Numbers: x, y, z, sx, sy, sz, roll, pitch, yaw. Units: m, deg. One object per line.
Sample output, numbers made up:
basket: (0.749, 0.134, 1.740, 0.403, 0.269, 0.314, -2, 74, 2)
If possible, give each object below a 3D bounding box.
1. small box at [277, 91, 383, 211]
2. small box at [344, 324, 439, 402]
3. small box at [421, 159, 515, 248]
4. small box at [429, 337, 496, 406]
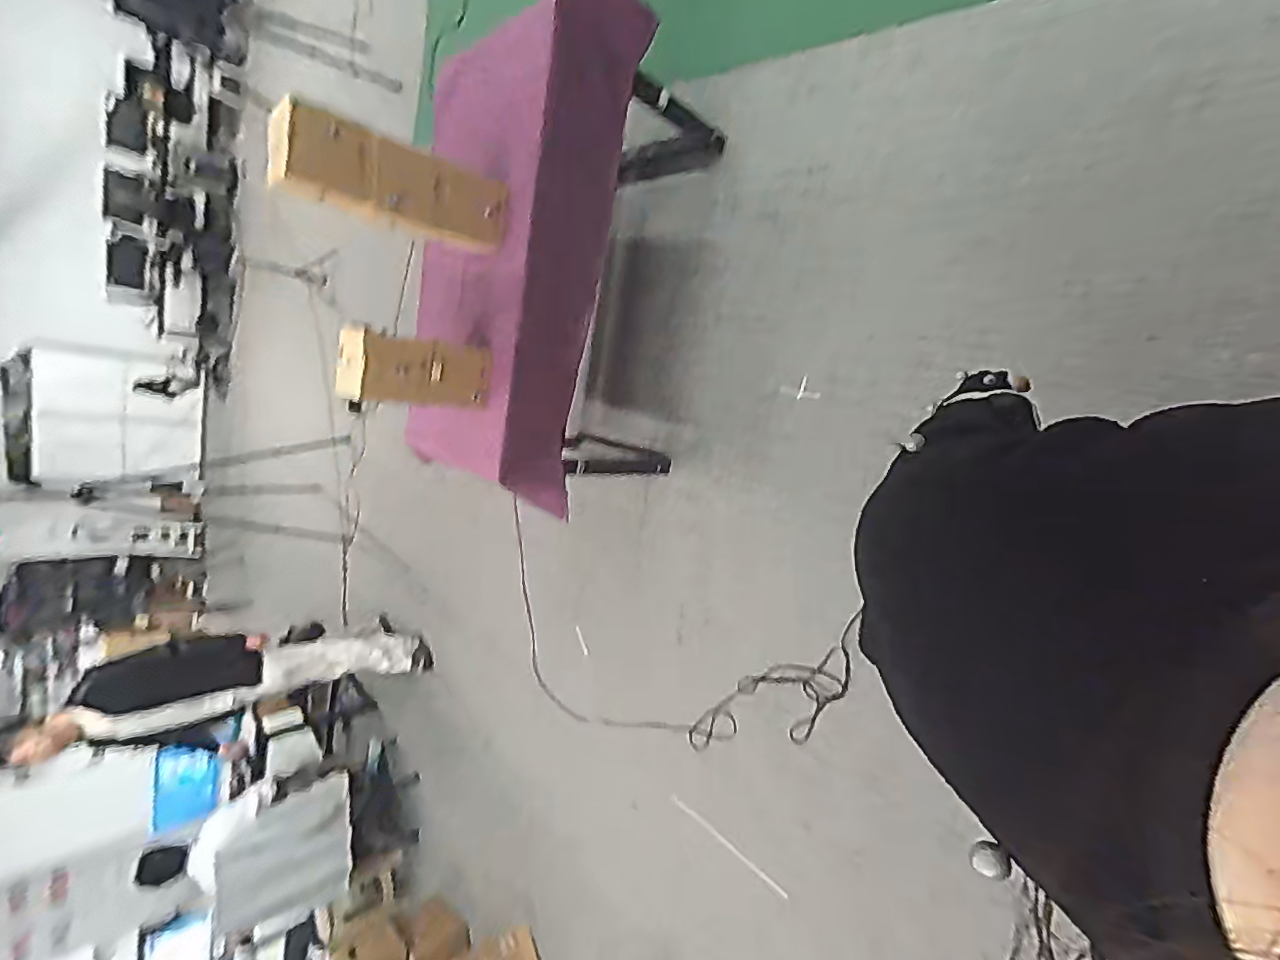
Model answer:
small box: (-0.695, -0.726, 1.215, 0.179, 0.176, 0.168, 18, 102, 44)
small box: (-0.636, -0.299, 1.389, 0.179, 0.176, 0.168, 19, 102, 41)
small box: (-0.461, -0.727, 1.444, 0.179, 0.176, 0.168, 21, 105, 42)
small box: (-0.520, -0.302, 1.505, 0.179, 0.176, 0.168, 17, 102, 44)
